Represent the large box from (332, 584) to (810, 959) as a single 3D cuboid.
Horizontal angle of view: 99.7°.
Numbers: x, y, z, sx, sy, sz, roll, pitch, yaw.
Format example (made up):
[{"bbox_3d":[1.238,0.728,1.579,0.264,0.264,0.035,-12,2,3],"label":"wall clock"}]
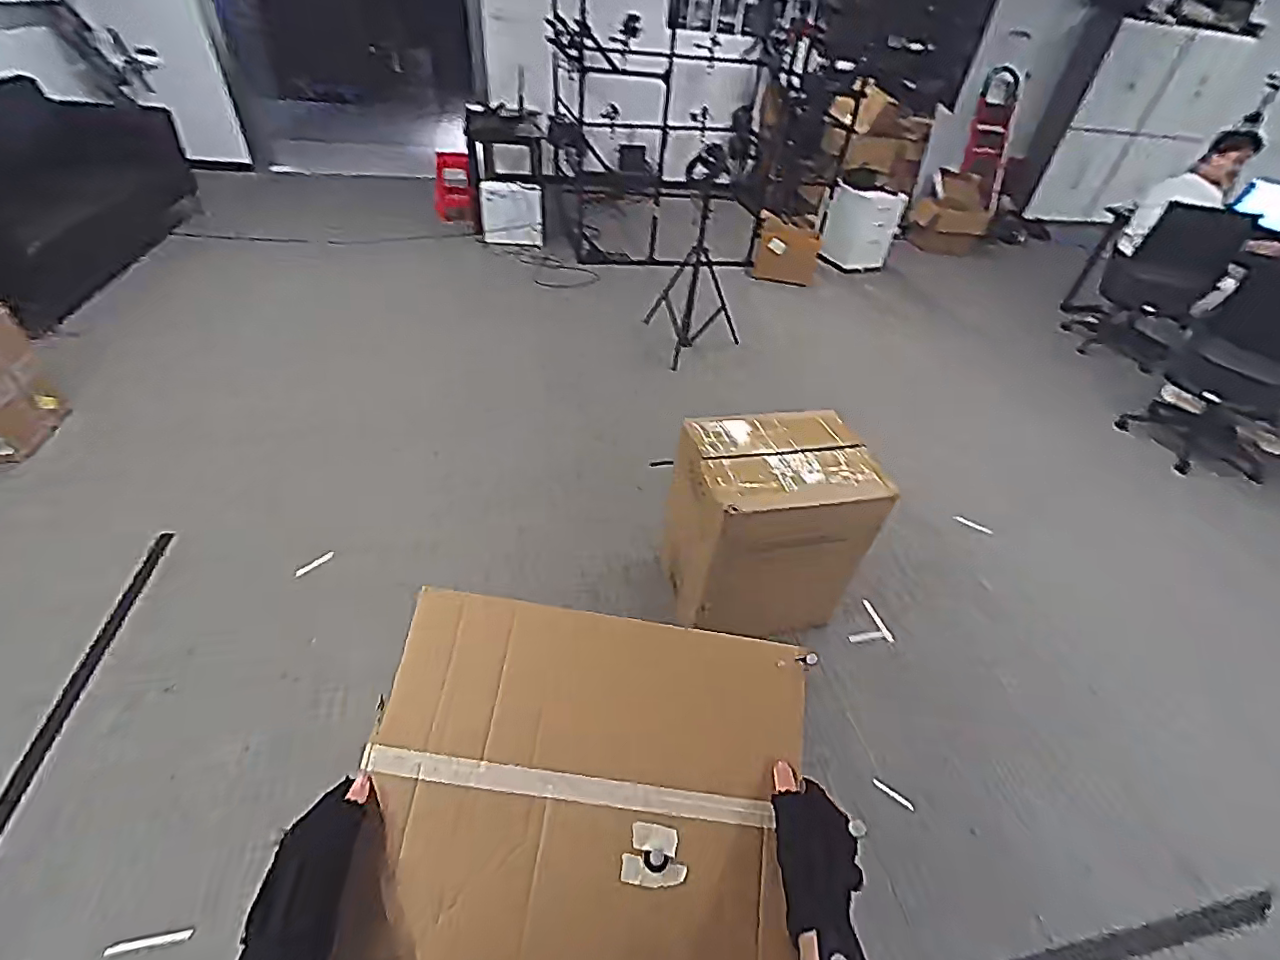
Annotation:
[{"bbox_3d":[-0.053,0.330,0.638,0.408,0.320,0.320,10,68,-2],"label":"large box"}]
